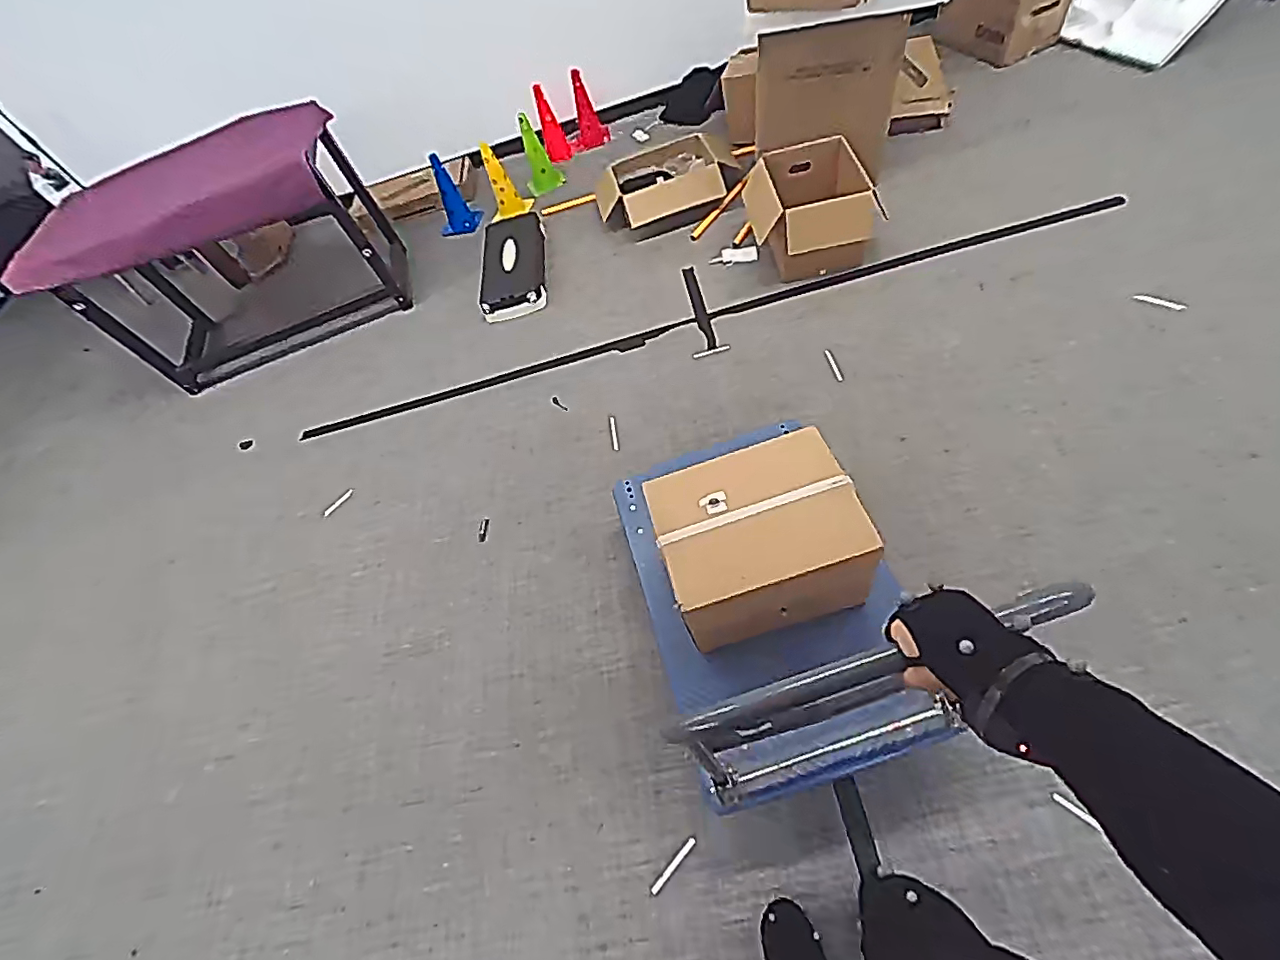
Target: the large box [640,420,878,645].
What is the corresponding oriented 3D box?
[{"bbox_3d":[0.259,0.132,1.221,0.408,0.320,0.320,-20,55,4],"label":"large box"}]
